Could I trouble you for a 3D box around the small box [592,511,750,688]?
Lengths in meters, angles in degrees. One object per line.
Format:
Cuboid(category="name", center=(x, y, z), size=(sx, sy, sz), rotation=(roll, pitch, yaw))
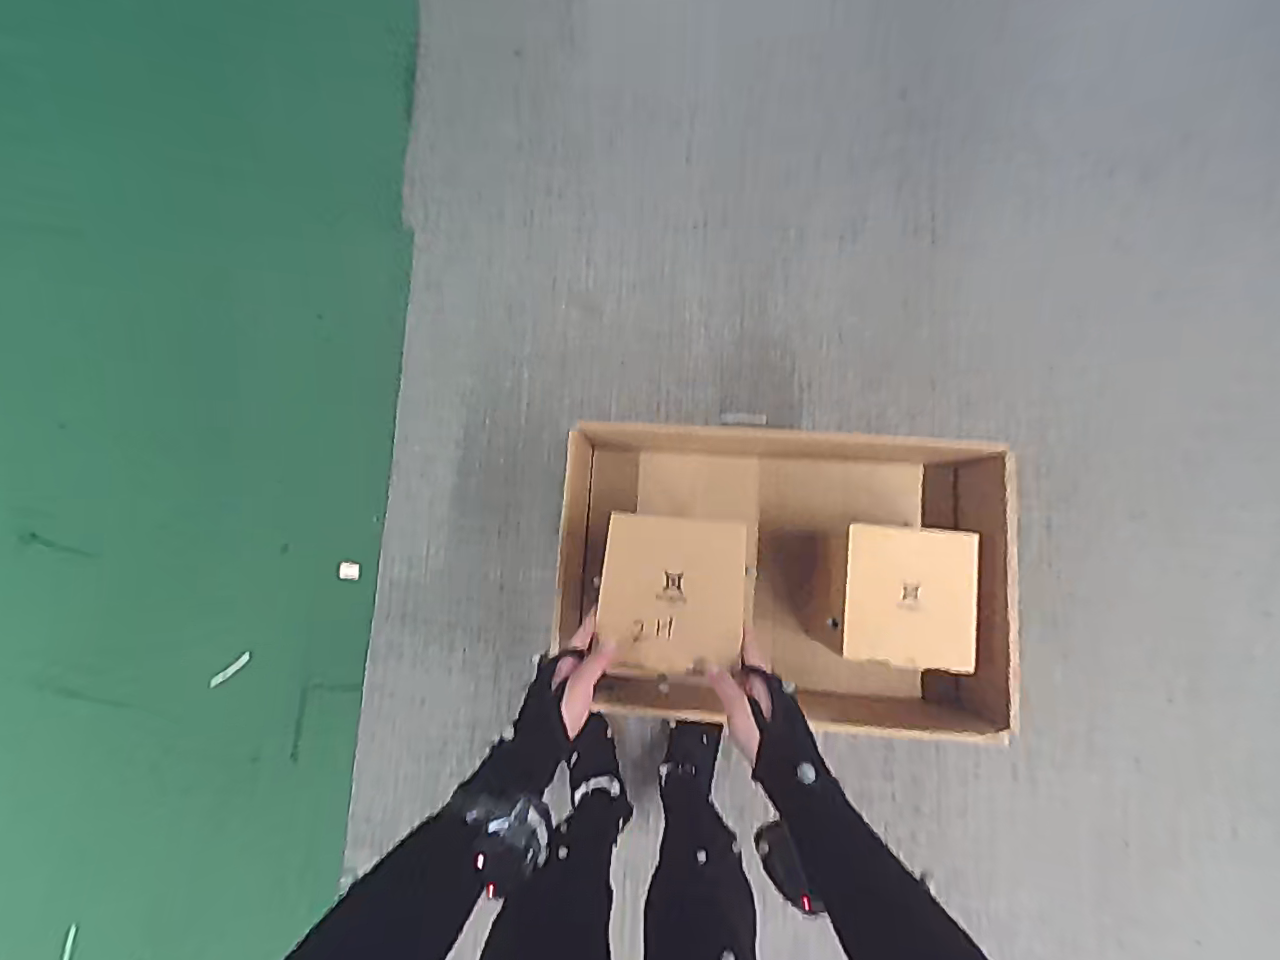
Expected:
Cuboid(category="small box", center=(0.041, 0.157, 0.684), size=(0.168, 0.176, 0.179), rotation=(5, 66, 6))
